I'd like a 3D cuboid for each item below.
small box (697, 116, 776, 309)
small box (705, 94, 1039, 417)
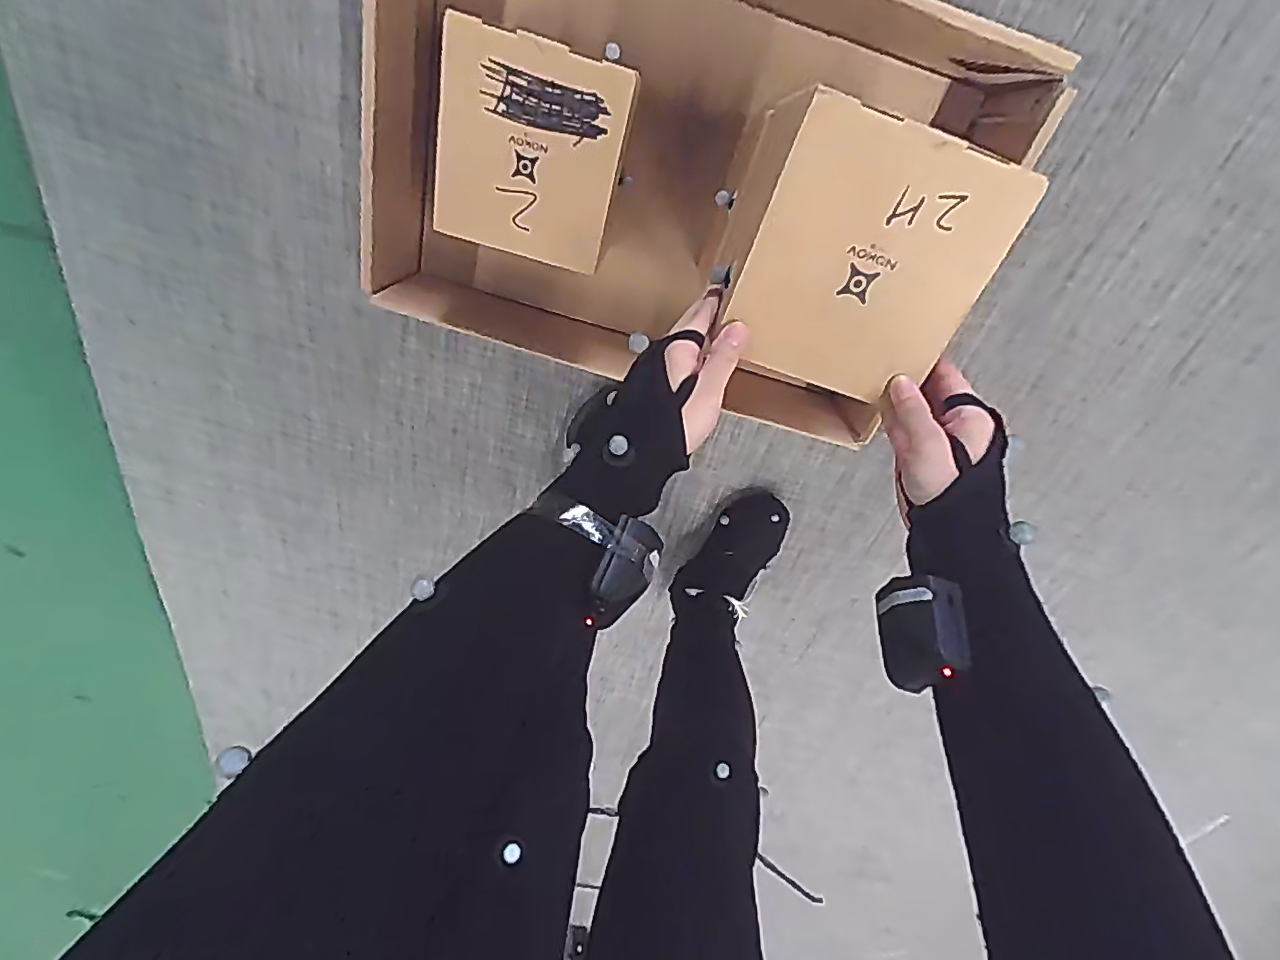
[{"bbox_3d":[0.170,-0.268,0.592,0.168,0.176,0.179,17,121,-5],"label":"small box"},{"bbox_3d":[0.161,-0.184,0.449,0.168,0.176,0.179,17,121,-6],"label":"small box"}]
